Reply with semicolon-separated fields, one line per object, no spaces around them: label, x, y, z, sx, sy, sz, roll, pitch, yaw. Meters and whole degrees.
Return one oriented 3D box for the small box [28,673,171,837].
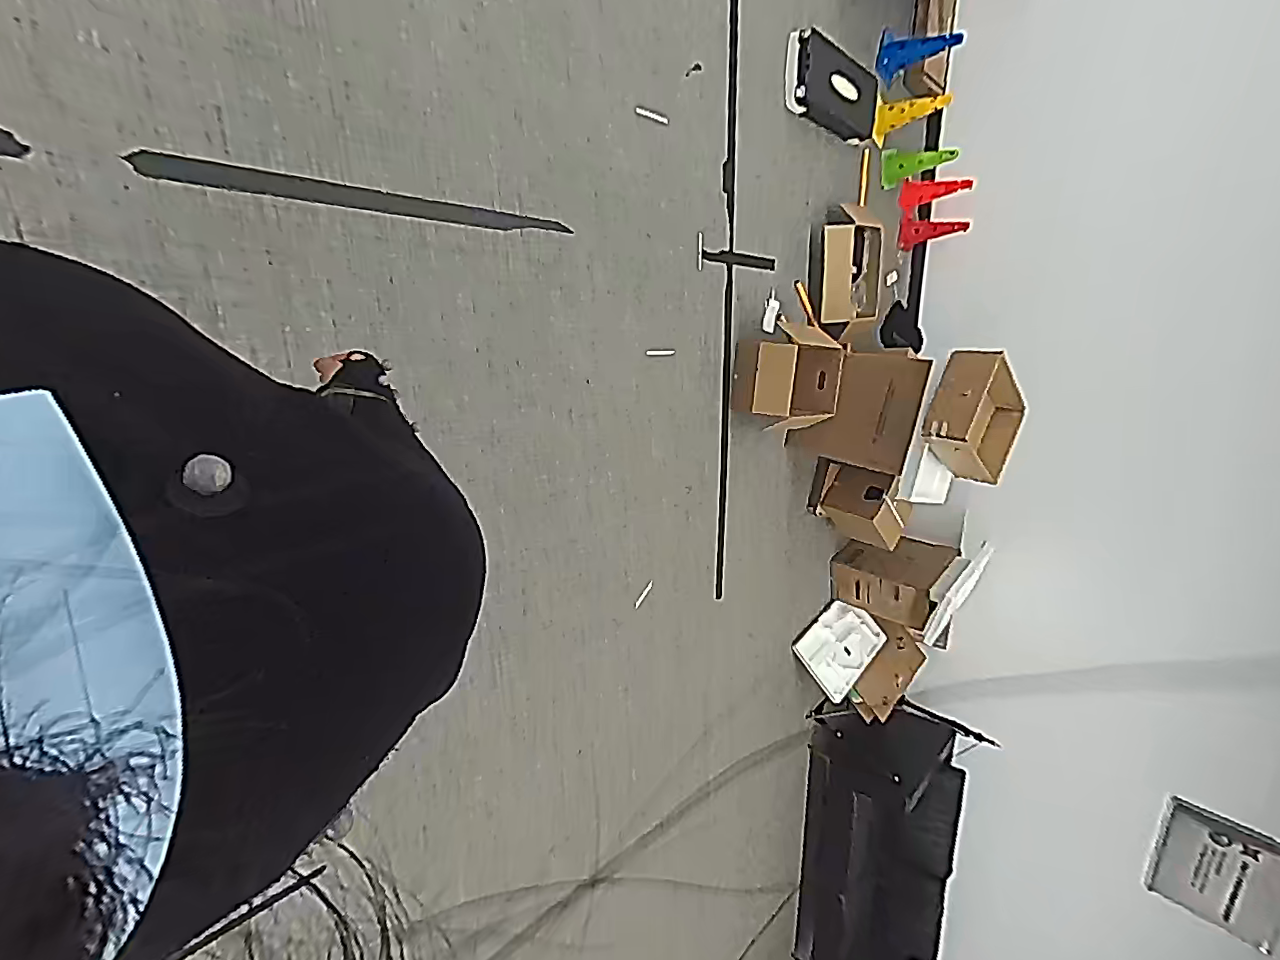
small box;-0.979;0.488;0.989;0.168;0.176;0.179;-8;106;-44
